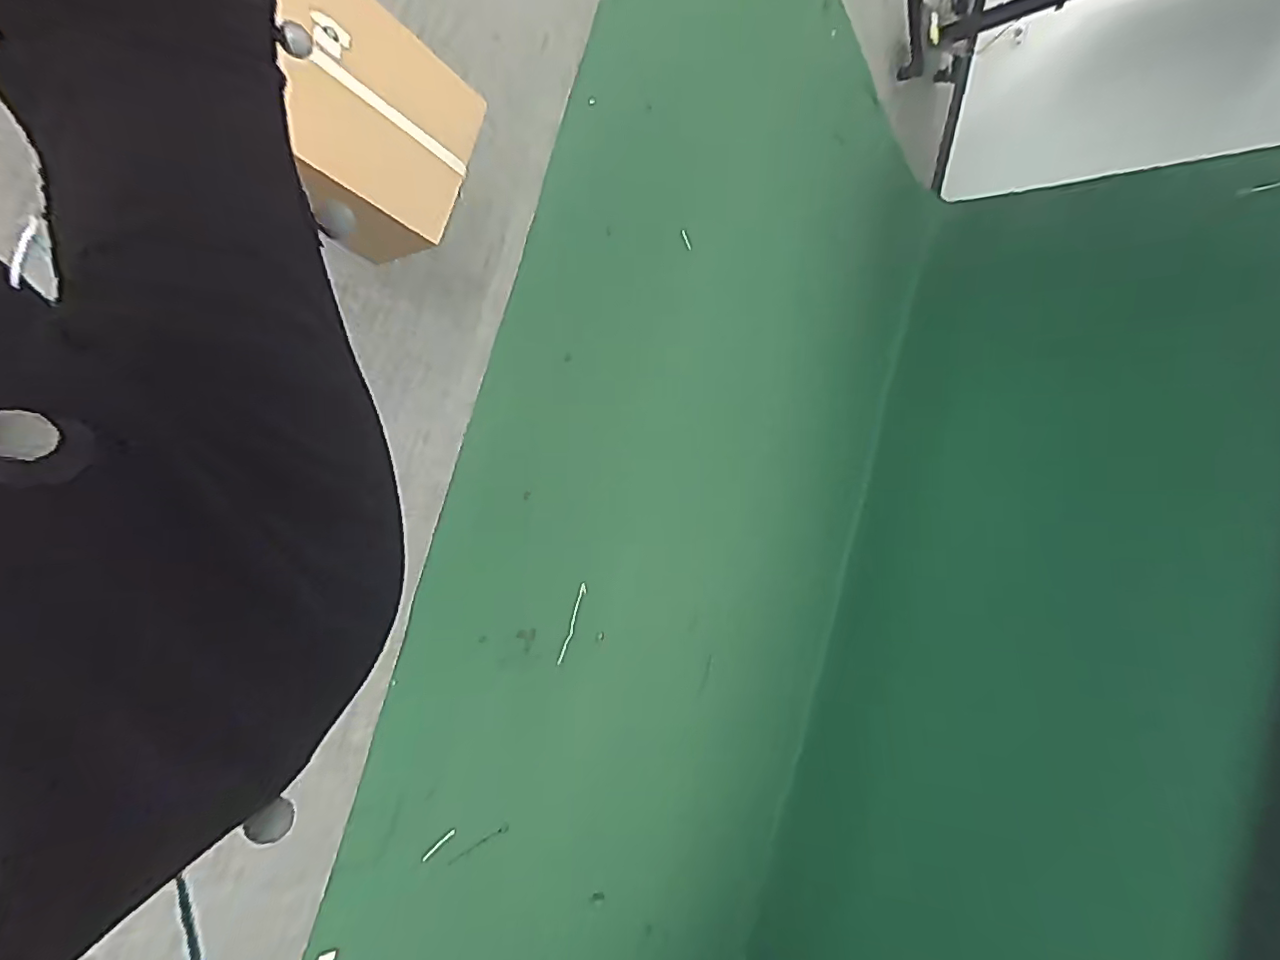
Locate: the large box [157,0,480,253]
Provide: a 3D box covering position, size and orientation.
[{"bbox_3d":[-0.590,-0.687,1.019,0.408,0.320,0.320,23,82,-46],"label":"large box"}]
